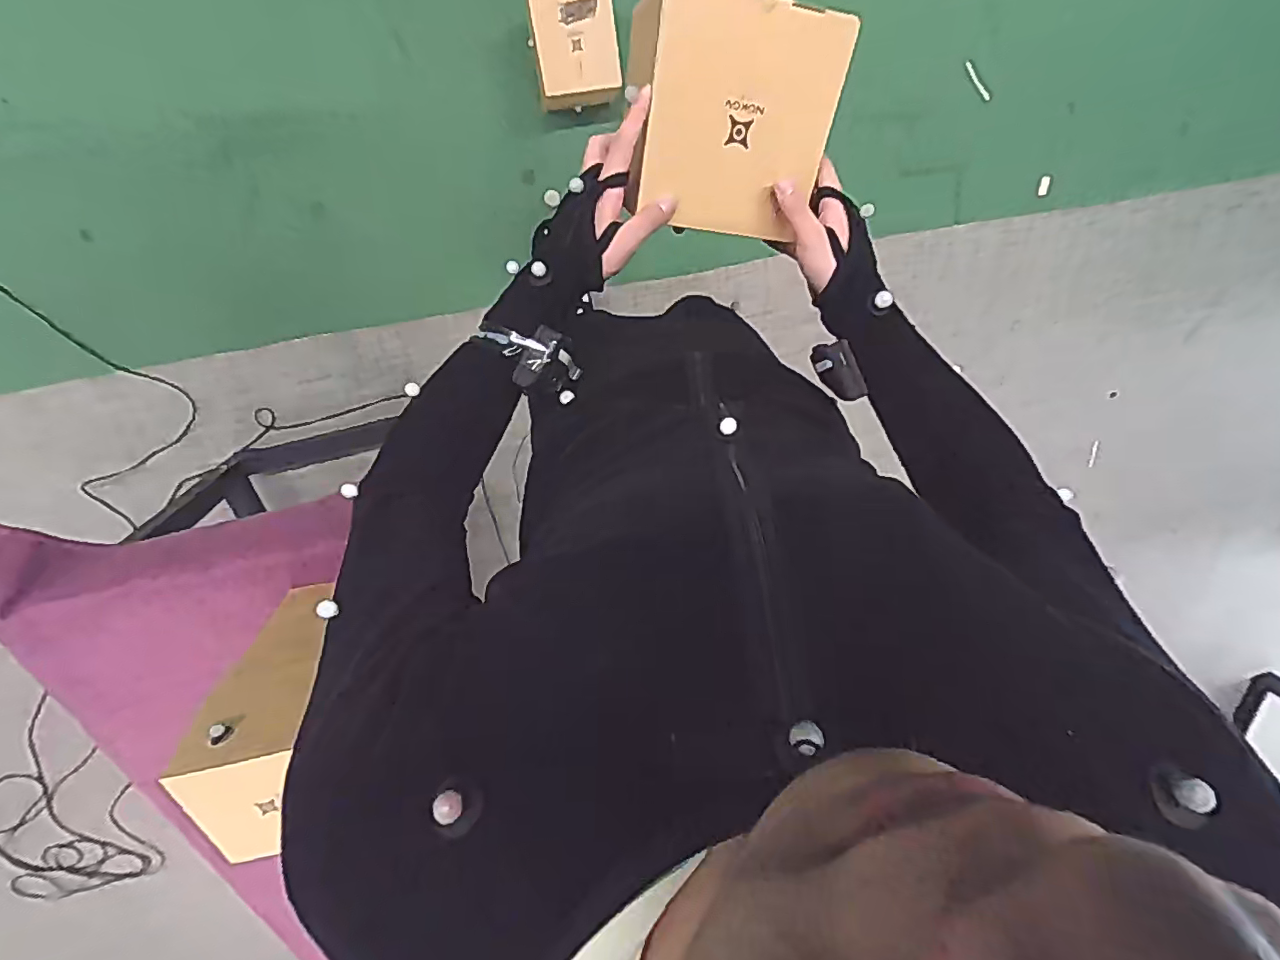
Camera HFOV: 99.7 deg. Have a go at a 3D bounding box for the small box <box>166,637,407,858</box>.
[{"bbox_3d":[-0.422,0.328,0.685,0.179,0.176,0.168,-11,118,-6],"label":"small box"}]

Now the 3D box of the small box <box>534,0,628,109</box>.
[{"bbox_3d":[-0.130,-0.920,1.153,0.168,0.176,0.179,-12,118,-5],"label":"small box"}]
